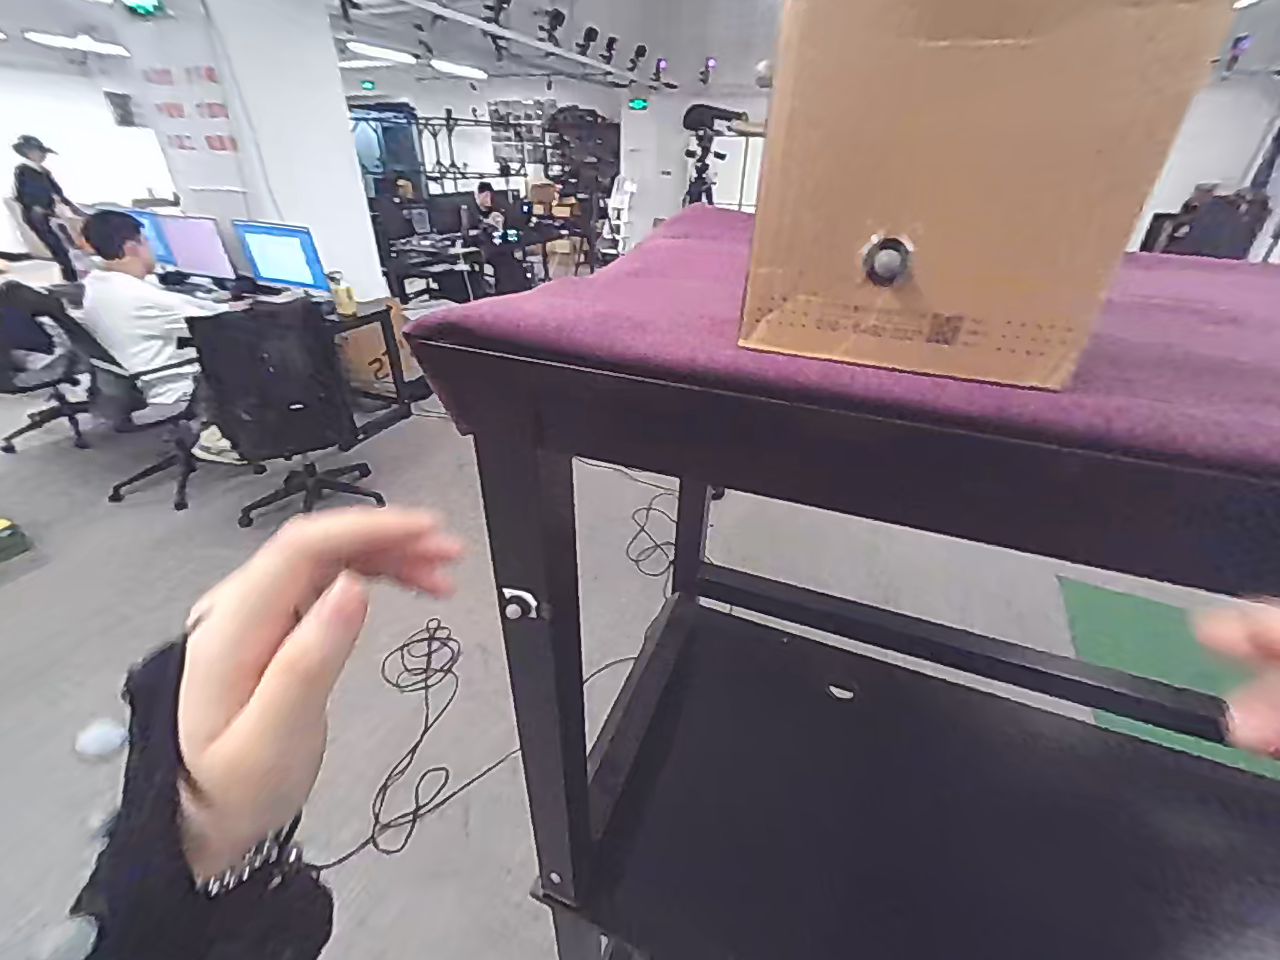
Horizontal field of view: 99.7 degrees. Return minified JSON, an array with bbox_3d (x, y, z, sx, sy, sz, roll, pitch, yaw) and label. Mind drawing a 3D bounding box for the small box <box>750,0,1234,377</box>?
[{"bbox_3d":[0.167,-0.175,0.322,0.168,0.176,0.179,12,31,15],"label":"small box"}]
